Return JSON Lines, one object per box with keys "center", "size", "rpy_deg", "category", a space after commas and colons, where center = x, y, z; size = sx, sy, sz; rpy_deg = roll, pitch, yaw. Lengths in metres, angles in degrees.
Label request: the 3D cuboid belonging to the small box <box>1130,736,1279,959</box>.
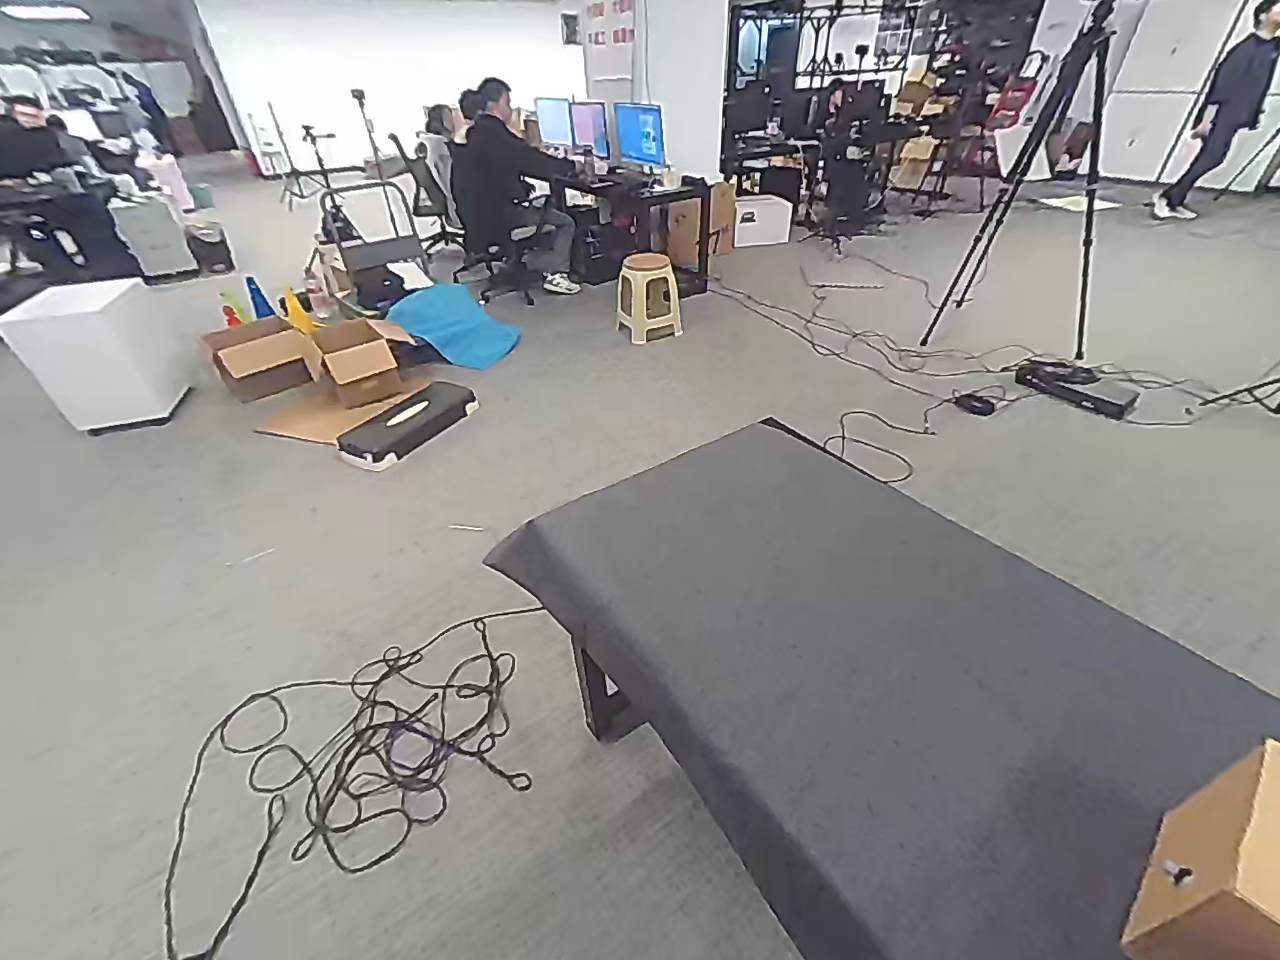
{"center": [0.554, 0.363, 0.441], "size": [0.179, 0.176, 0.168], "rpy_deg": [-28, 45, -32], "category": "small box"}
